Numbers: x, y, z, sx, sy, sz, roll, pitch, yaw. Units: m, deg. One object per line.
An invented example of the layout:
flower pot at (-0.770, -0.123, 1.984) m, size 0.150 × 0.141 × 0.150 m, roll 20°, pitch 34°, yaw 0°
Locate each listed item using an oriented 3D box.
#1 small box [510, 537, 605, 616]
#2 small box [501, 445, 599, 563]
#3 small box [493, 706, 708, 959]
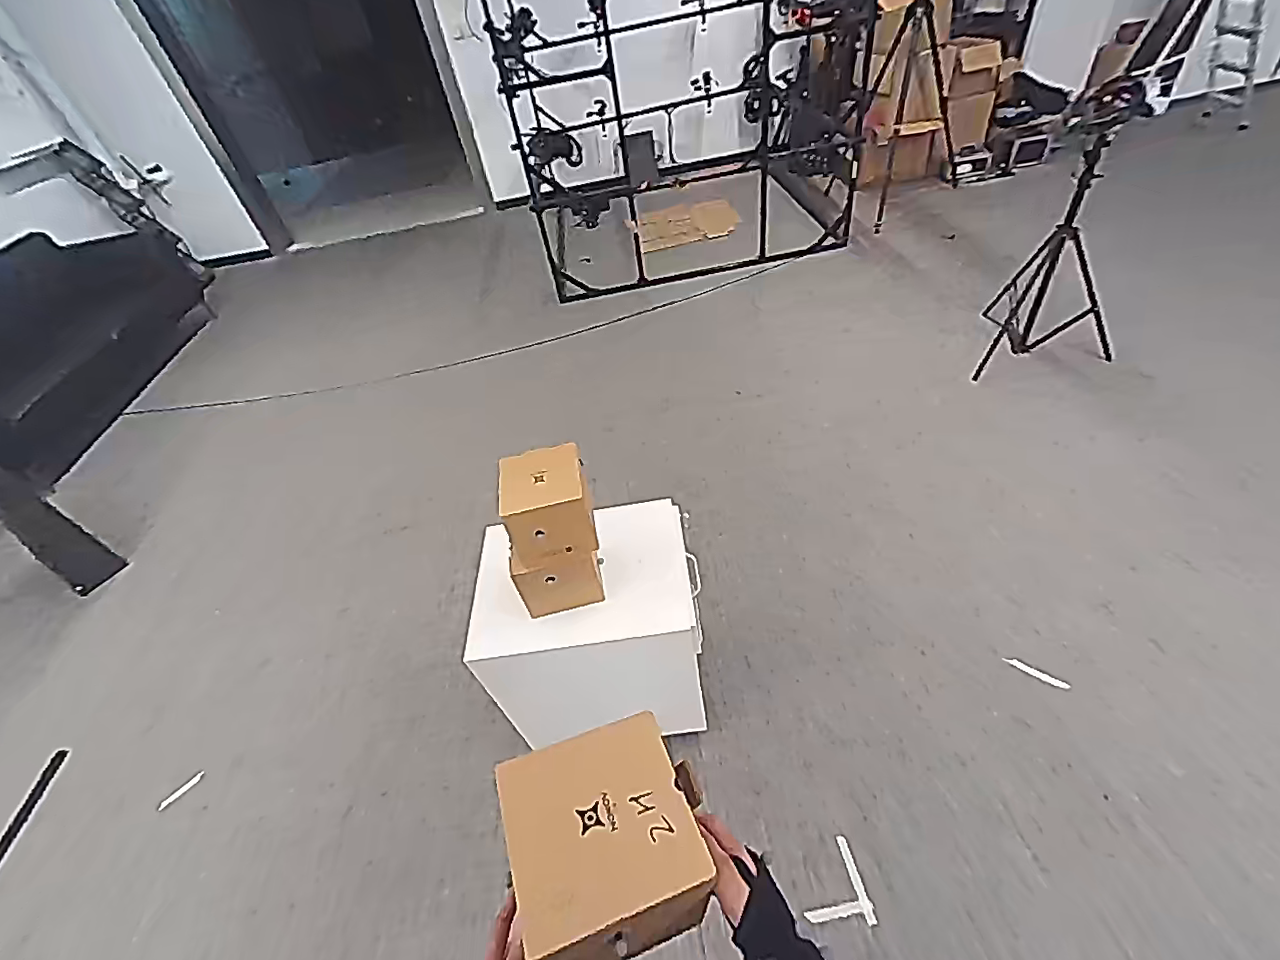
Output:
small box at (-0.188, 0.189, 1.244) m, size 0.179 × 0.176 × 0.168 m, roll -13°, pitch 44°, yaw -3°
small box at (-0.188, 0.056, 1.144) m, size 0.168 × 0.176 × 0.179 m, roll -13°, pitch 43°, yaw -2°
small box at (-0.044, 0.378, 0.571) m, size 0.179 × 0.176 × 0.168 m, roll -12°, pitch 42°, yaw -16°
